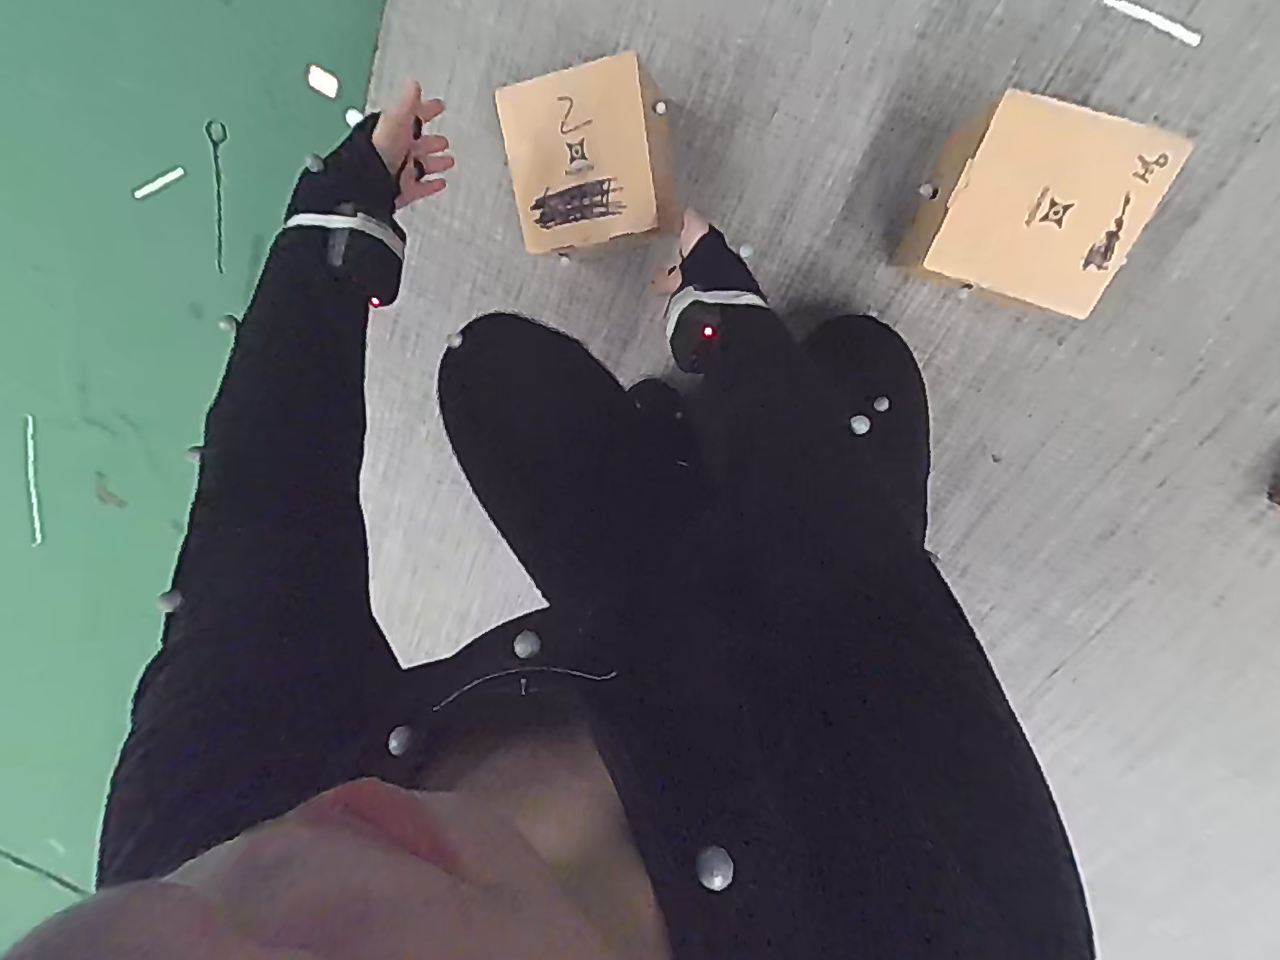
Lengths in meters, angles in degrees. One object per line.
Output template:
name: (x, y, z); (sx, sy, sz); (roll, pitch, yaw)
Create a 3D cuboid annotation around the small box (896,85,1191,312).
small box: (0.413, -0.296, 0.600); (0.179, 0.176, 0.168); (21, 114, 7)
